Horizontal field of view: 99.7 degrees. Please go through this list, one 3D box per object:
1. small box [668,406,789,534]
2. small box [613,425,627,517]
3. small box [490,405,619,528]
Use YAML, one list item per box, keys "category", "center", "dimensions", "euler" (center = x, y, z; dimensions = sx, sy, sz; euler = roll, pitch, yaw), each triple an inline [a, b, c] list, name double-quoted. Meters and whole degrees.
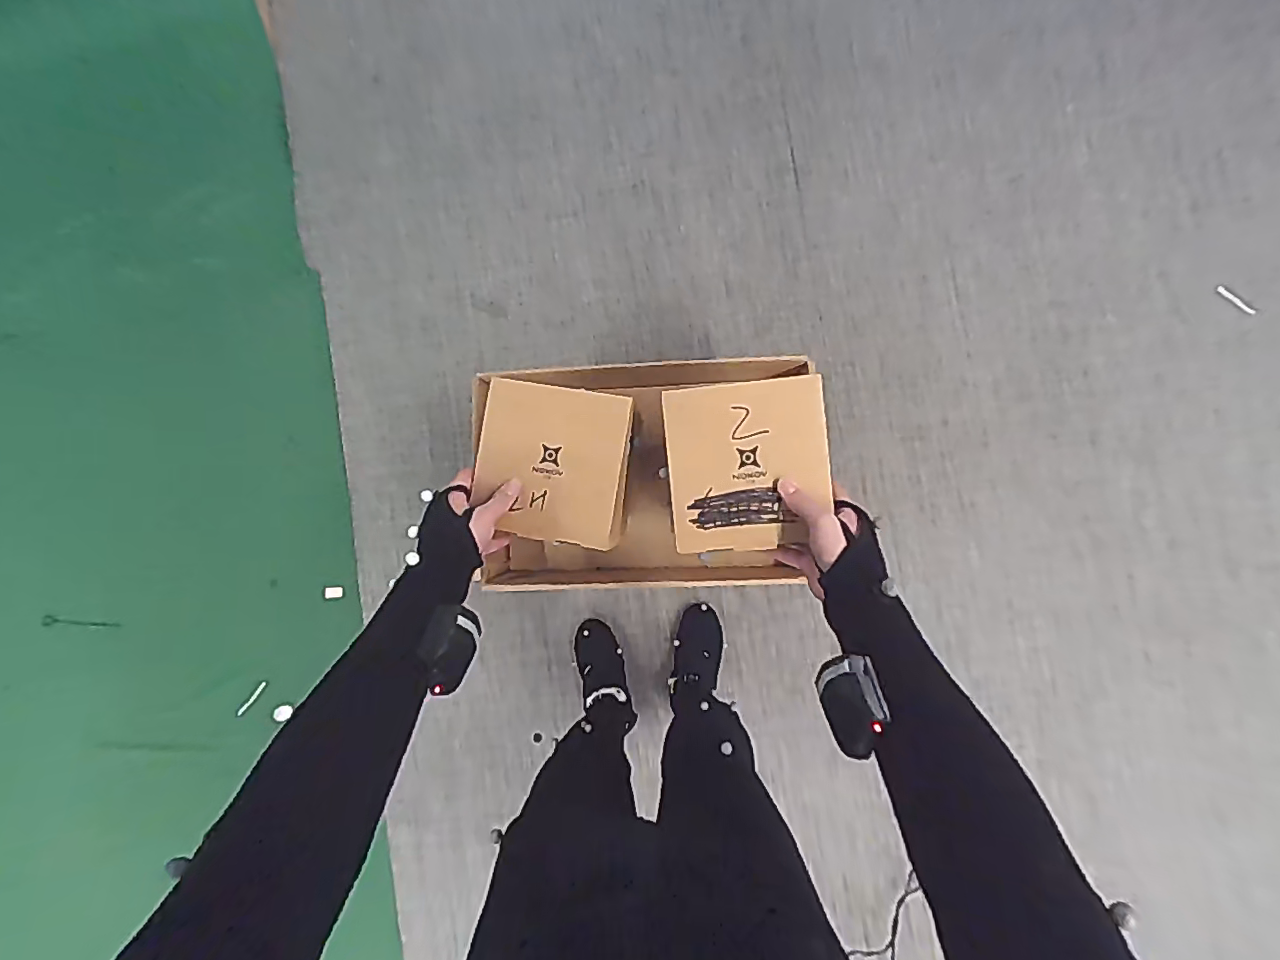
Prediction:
- category: "small box"
  center: [0.127, -0.010, 0.817]
  dimensions: [0.168, 0.176, 0.179]
  euler: [-1, 86, 4]
- category: "small box"
  center: [-0.121, -0.010, 1.007]
  dimensions: [0.179, 0.176, 0.168]
  euler: [0, 87, 4]
- category: "small box"
  center: [-0.125, -0.015, 0.843]
  dimensions: [0.168, 0.176, 0.179]
  euler: [-1, 88, 5]
